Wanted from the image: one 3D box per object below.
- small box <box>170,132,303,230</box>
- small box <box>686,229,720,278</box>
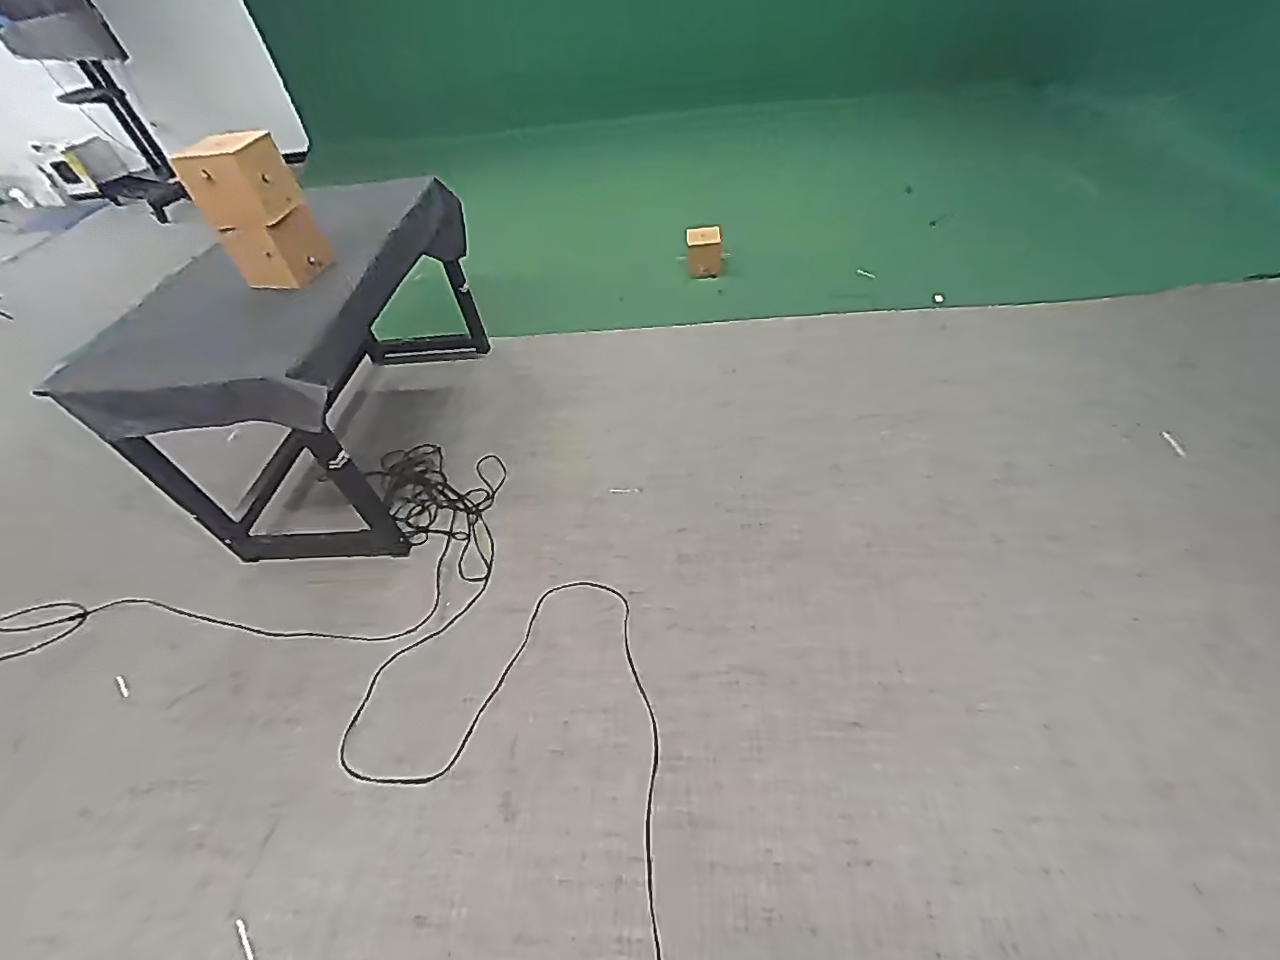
[{"bbox_3d":[-1.000,-0.750,1.362,0.179,0.176,0.168,-1,48,8],"label":"small box"},{"bbox_3d":[0.320,-1.157,2.763,0.168,0.176,0.179,-3,48,6],"label":"small box"}]
